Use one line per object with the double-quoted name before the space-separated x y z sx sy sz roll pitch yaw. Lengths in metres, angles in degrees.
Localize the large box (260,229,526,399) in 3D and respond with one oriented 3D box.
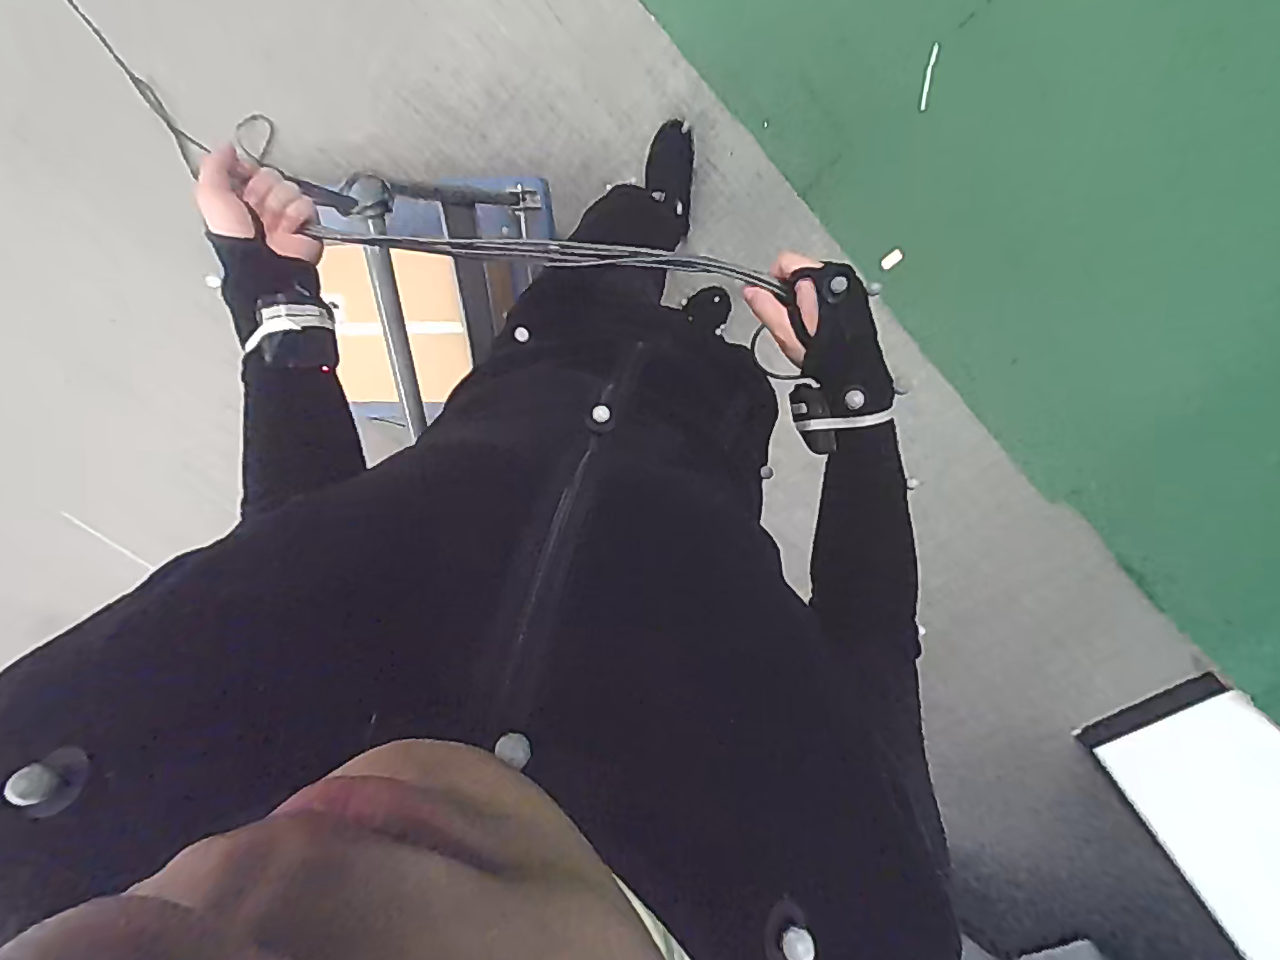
"large box" -0.511 -0.379 1.212 0.408 0.320 0.320 1 116 7
